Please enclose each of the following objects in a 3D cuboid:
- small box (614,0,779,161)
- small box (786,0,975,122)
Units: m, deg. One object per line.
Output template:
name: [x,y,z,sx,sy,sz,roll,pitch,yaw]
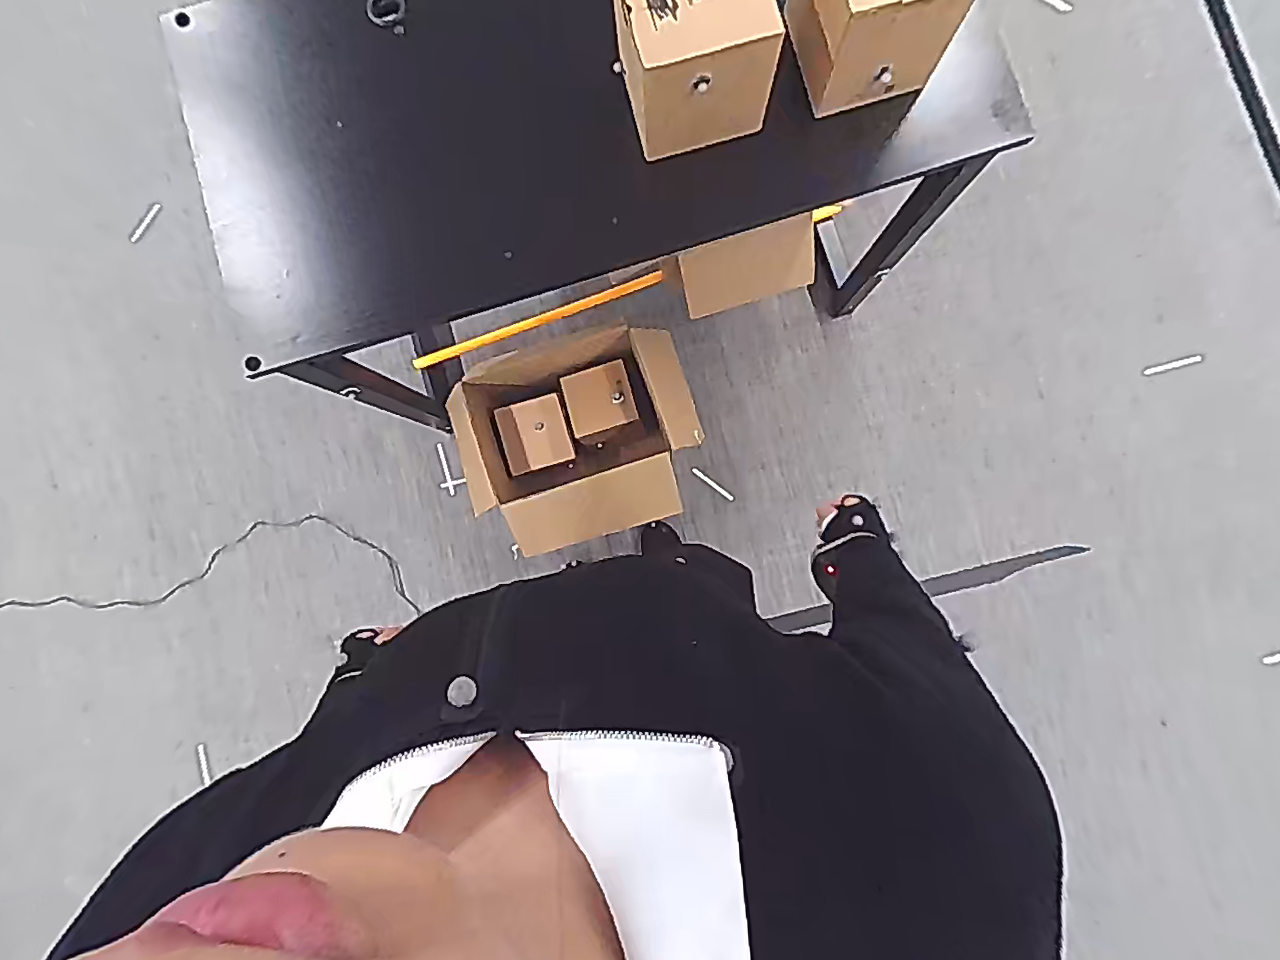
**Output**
small box: [0.068,-0.568,0.726,0.179,0.176,0.168,-14,85,1]
small box: [0.306,-0.630,0.718,0.168,0.176,0.179,-14,85,3]
